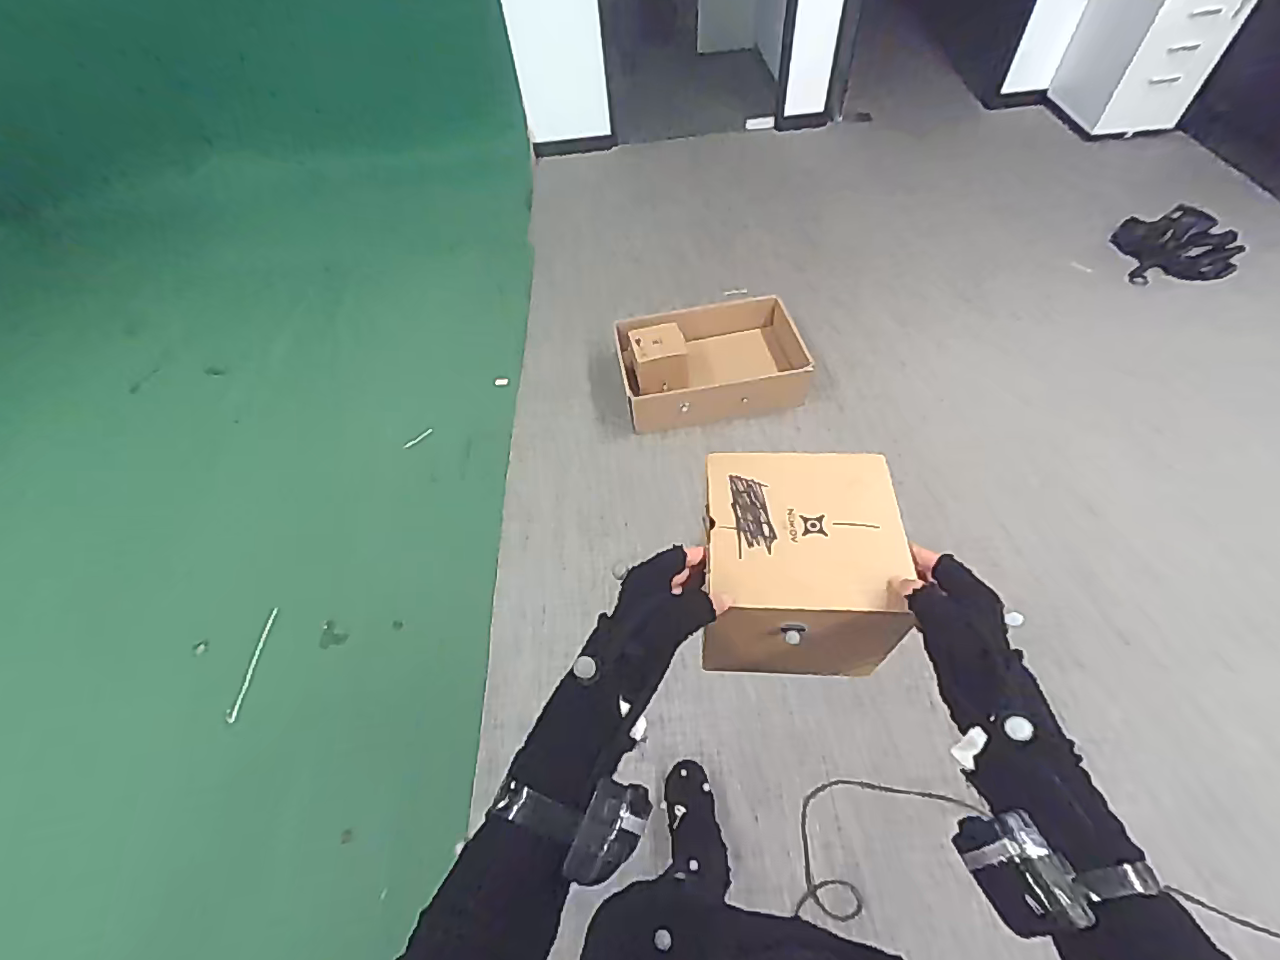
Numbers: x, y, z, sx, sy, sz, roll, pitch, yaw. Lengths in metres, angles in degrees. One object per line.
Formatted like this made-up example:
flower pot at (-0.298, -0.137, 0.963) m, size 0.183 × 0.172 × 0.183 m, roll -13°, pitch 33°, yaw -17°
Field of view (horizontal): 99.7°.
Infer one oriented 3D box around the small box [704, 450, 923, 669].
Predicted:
small box at (0.155, 0.086, 0.555) m, size 0.179 × 0.176 × 0.168 m, roll 1°, pitch 54°, yaw 5°

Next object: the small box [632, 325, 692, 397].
small box at (0.074, -0.413, 1.885) m, size 0.179 × 0.176 × 0.168 m, roll -11°, pitch 54°, yaw -5°
